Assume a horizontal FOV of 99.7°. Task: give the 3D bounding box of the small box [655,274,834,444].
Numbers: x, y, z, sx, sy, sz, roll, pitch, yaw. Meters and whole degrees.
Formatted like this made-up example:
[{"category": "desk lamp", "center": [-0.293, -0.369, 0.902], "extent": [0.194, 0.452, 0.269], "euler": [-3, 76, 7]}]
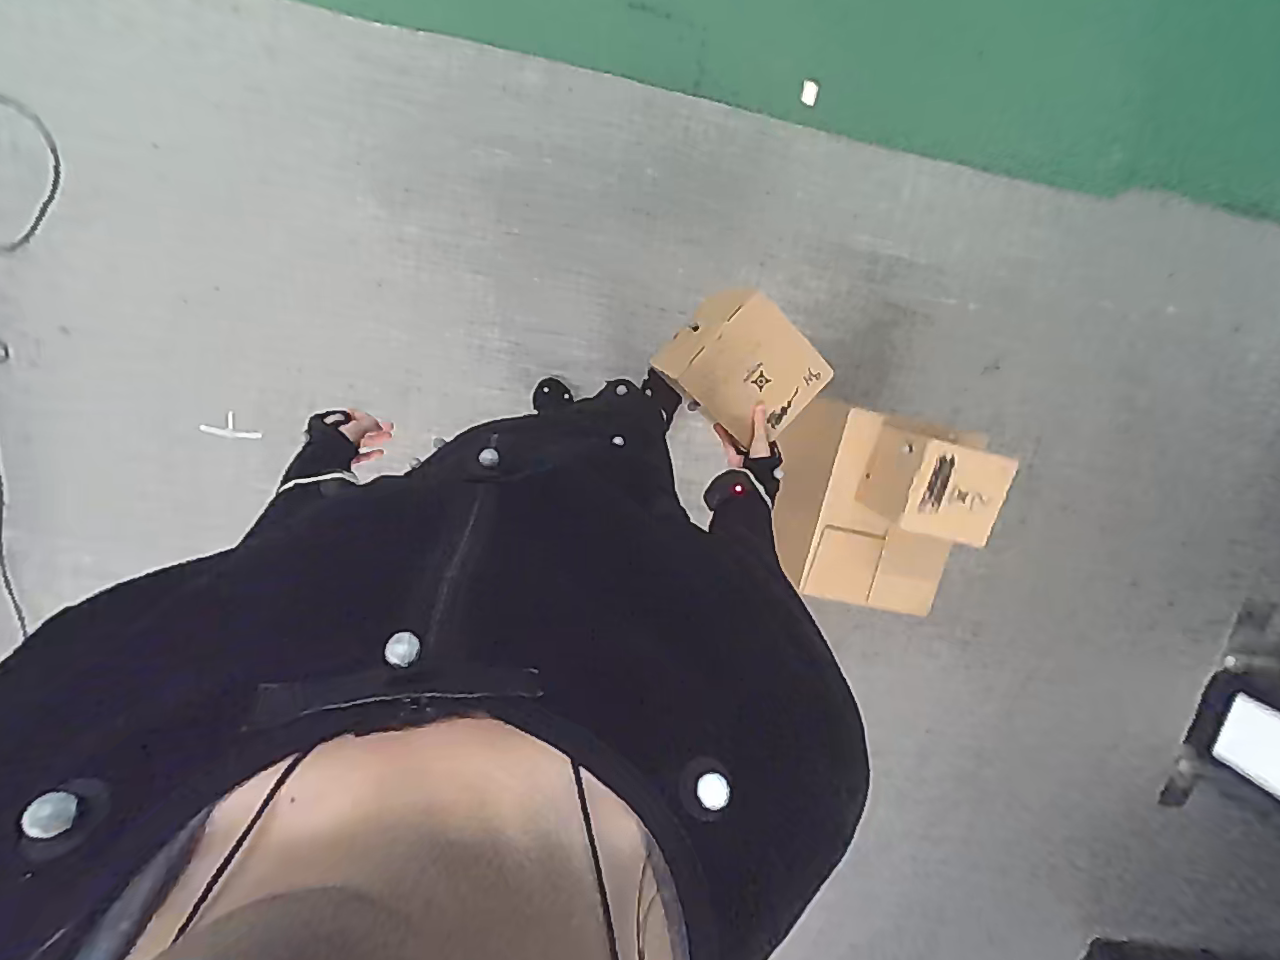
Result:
[{"category": "small box", "center": [0.145, -0.184, 0.816], "extent": [0.179, 0.176, 0.168], "euler": [39, 98, -21]}]
